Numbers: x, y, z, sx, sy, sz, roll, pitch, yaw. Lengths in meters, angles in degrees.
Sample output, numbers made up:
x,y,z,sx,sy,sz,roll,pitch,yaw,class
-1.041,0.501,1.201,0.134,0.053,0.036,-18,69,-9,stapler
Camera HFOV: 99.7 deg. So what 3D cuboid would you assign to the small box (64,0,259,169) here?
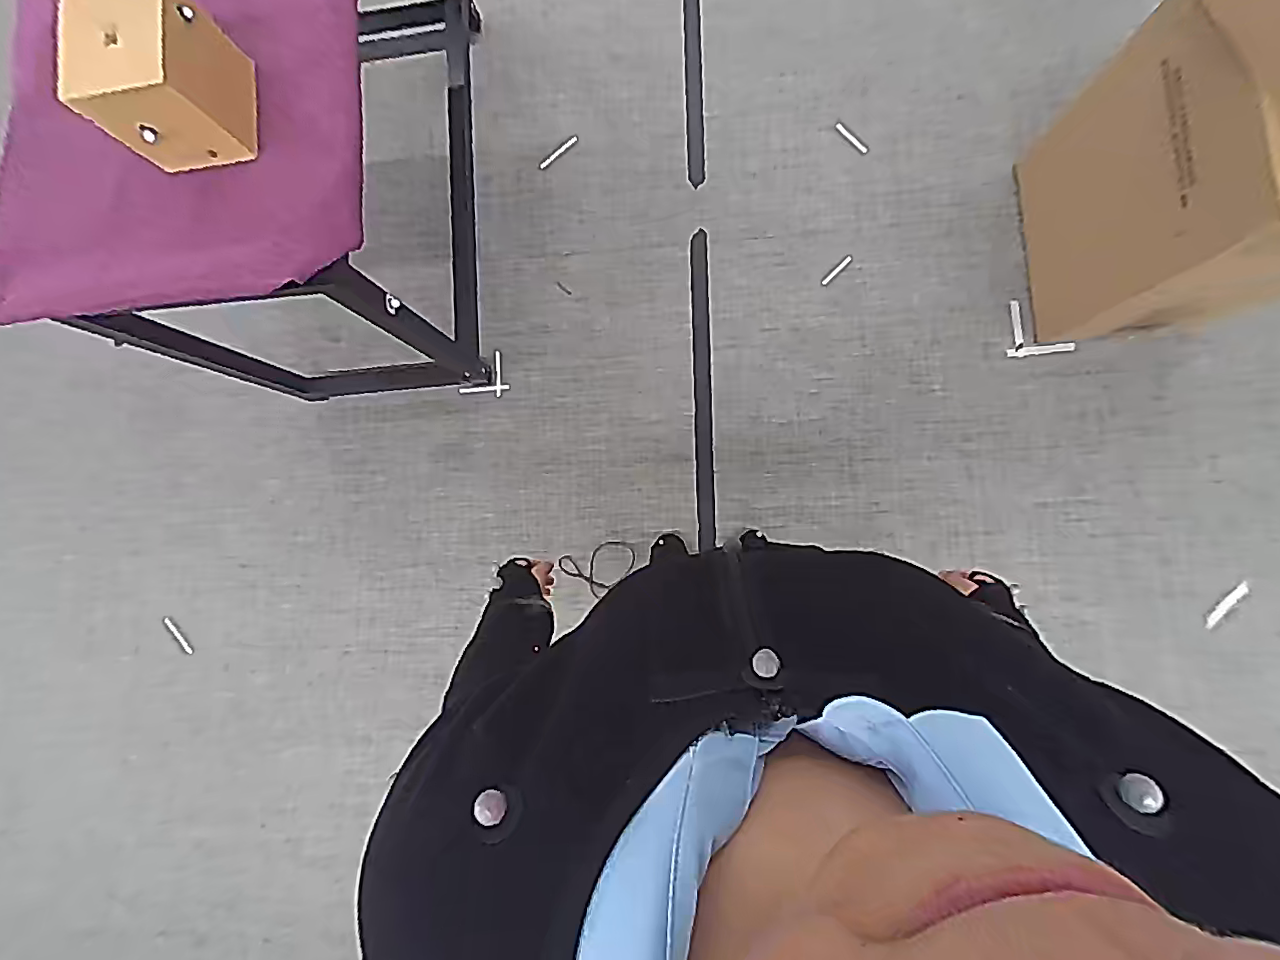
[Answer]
x,y,z,sx,sy,sz,roll,pitch,yaw,class
-0.735,-0.619,0.847,0.168,0.176,0.179,-6,84,5,small box
